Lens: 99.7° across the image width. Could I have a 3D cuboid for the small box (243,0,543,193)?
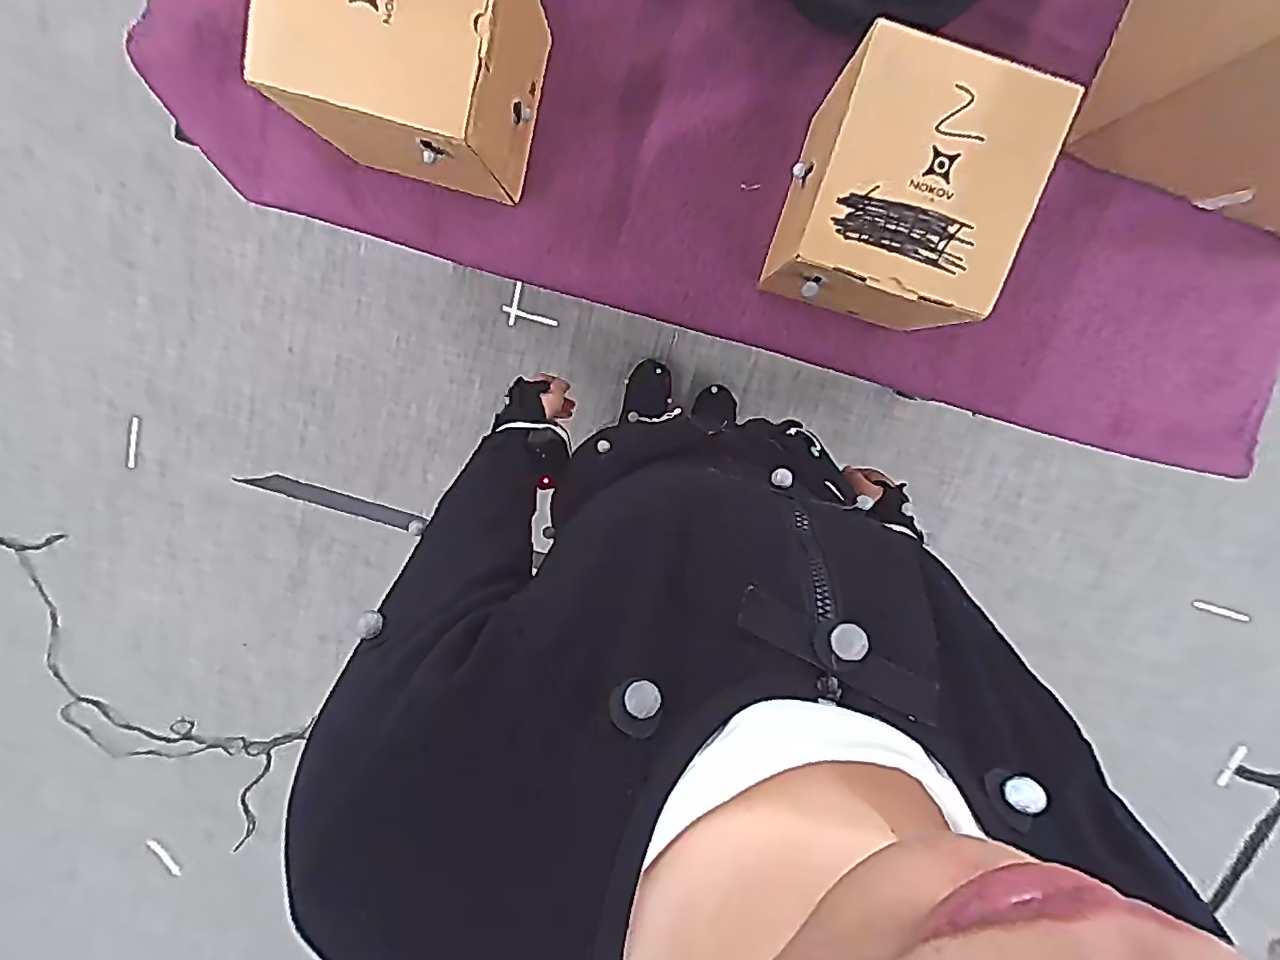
[{"bbox_3d":[-0.198,-0.380,0.478,0.179,0.176,0.168,13,102,-3],"label":"small box"}]
